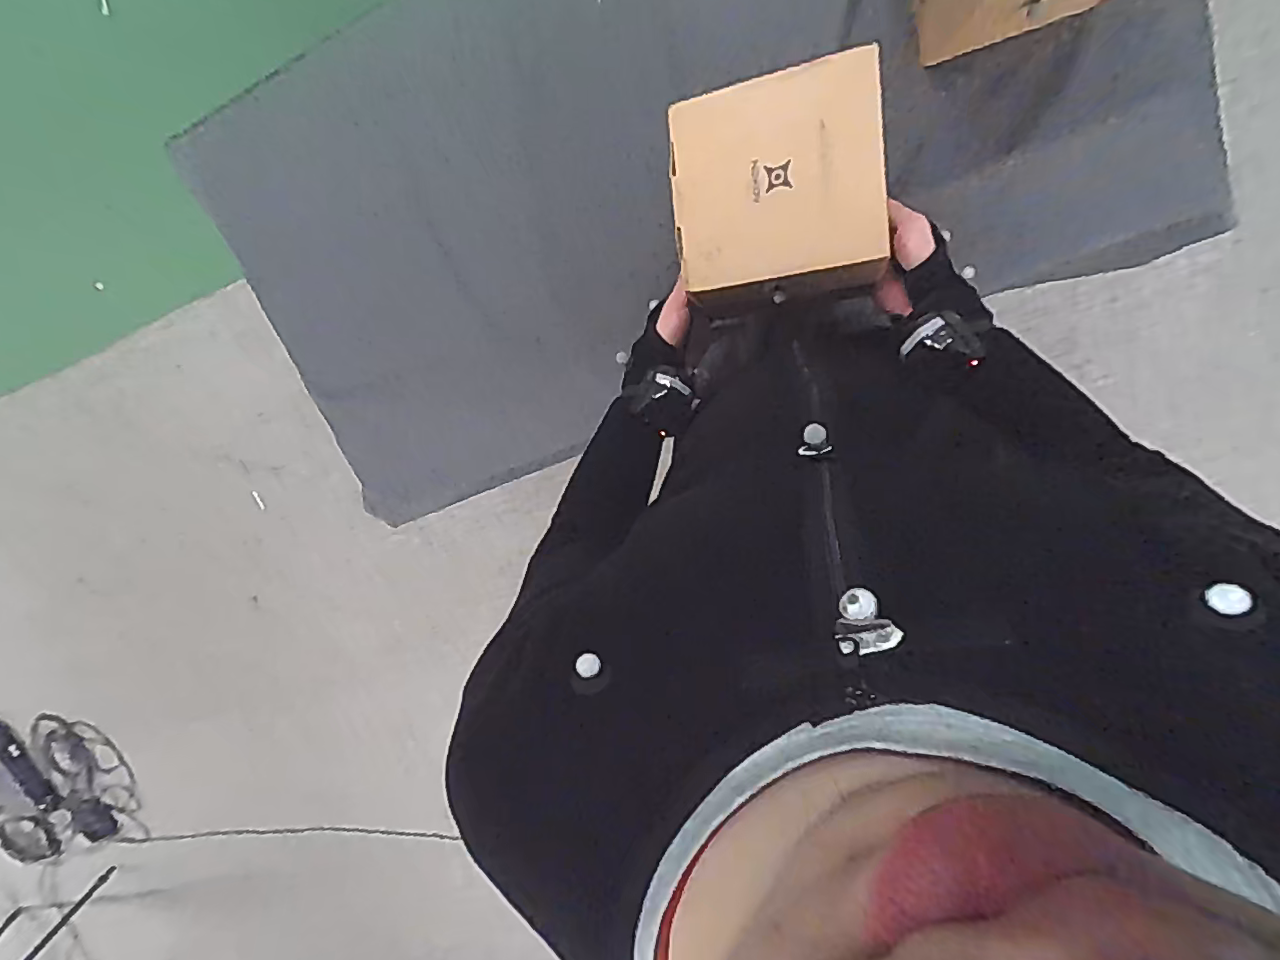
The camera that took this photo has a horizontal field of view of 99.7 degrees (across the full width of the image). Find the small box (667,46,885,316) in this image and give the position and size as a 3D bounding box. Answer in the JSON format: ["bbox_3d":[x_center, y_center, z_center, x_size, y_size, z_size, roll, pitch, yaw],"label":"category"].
[{"bbox_3d":[0.137,-0.268,0.537,0.179,0.176,0.168,-4,97,18],"label":"small box"}]

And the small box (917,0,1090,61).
[{"bbox_3d":[0.370,-0.538,0.505,0.179,0.176,0.168,-12,108,12],"label":"small box"}]
